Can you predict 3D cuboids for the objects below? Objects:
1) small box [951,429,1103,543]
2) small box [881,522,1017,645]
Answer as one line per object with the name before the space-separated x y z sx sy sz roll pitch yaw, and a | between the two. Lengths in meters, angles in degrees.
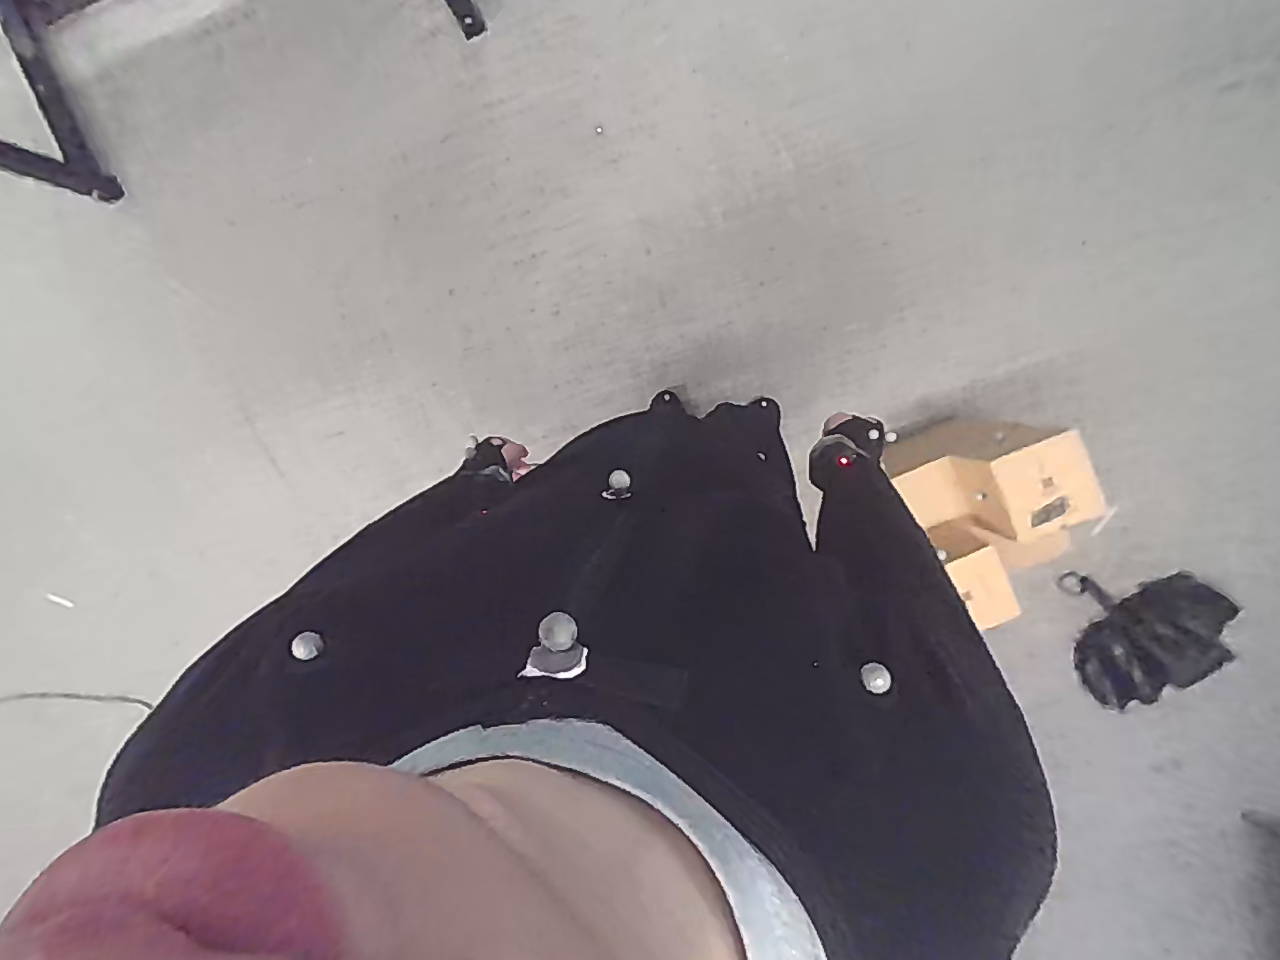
small box | 0.774 0.004 1.101 0.168 0.176 0.179 -22 94 8
small box | 0.640 0.212 1.147 0.179 0.176 0.168 -27 100 7
